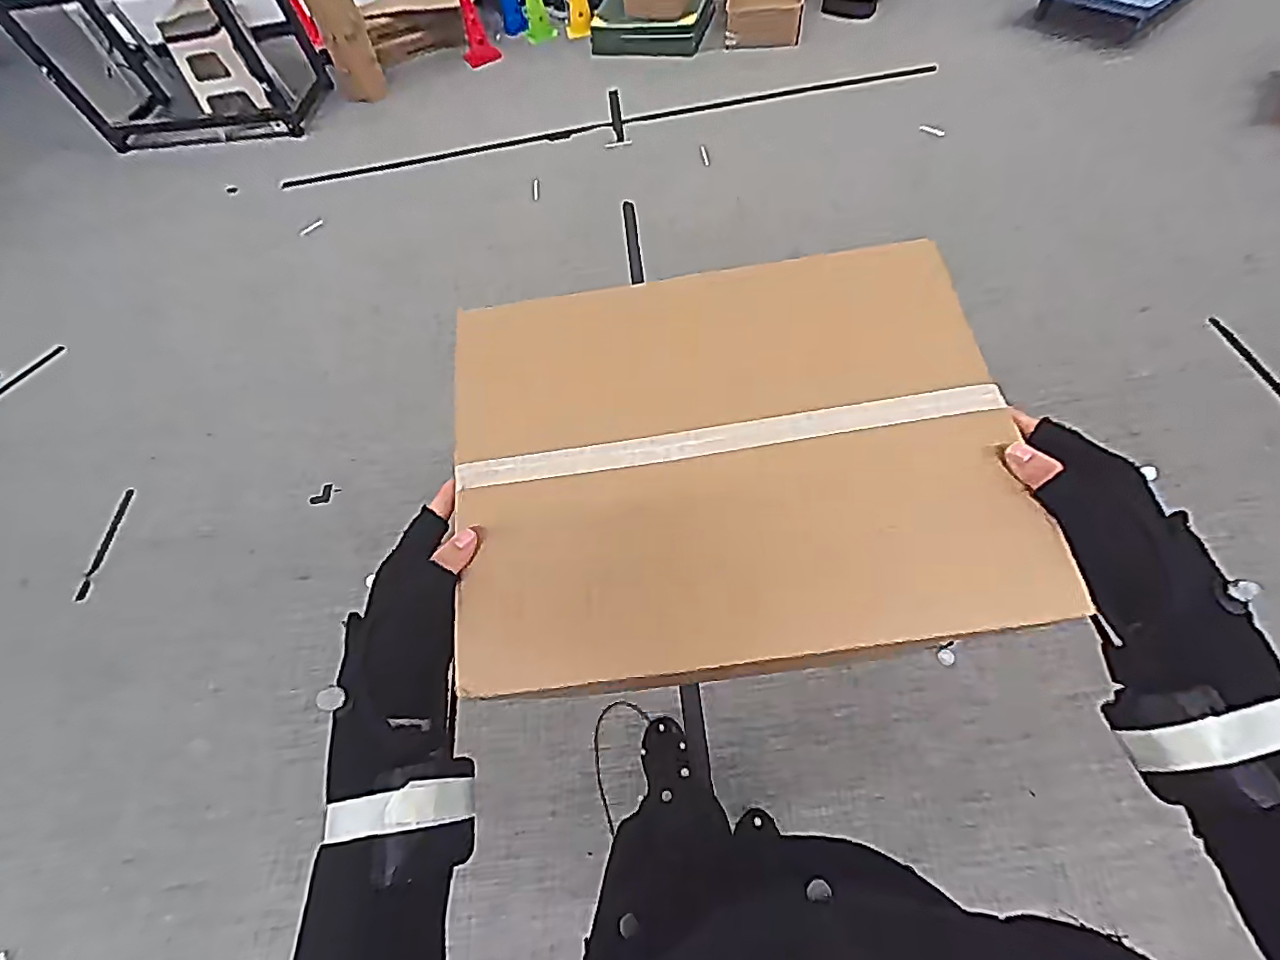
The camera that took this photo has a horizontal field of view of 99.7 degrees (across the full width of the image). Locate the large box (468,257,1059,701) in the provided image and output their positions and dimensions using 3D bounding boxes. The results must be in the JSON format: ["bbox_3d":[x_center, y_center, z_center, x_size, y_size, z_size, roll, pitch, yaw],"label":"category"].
[{"bbox_3d":[0.078,0.032,0.554,0.408,0.320,0.320,-9,67,2],"label":"large box"}]
